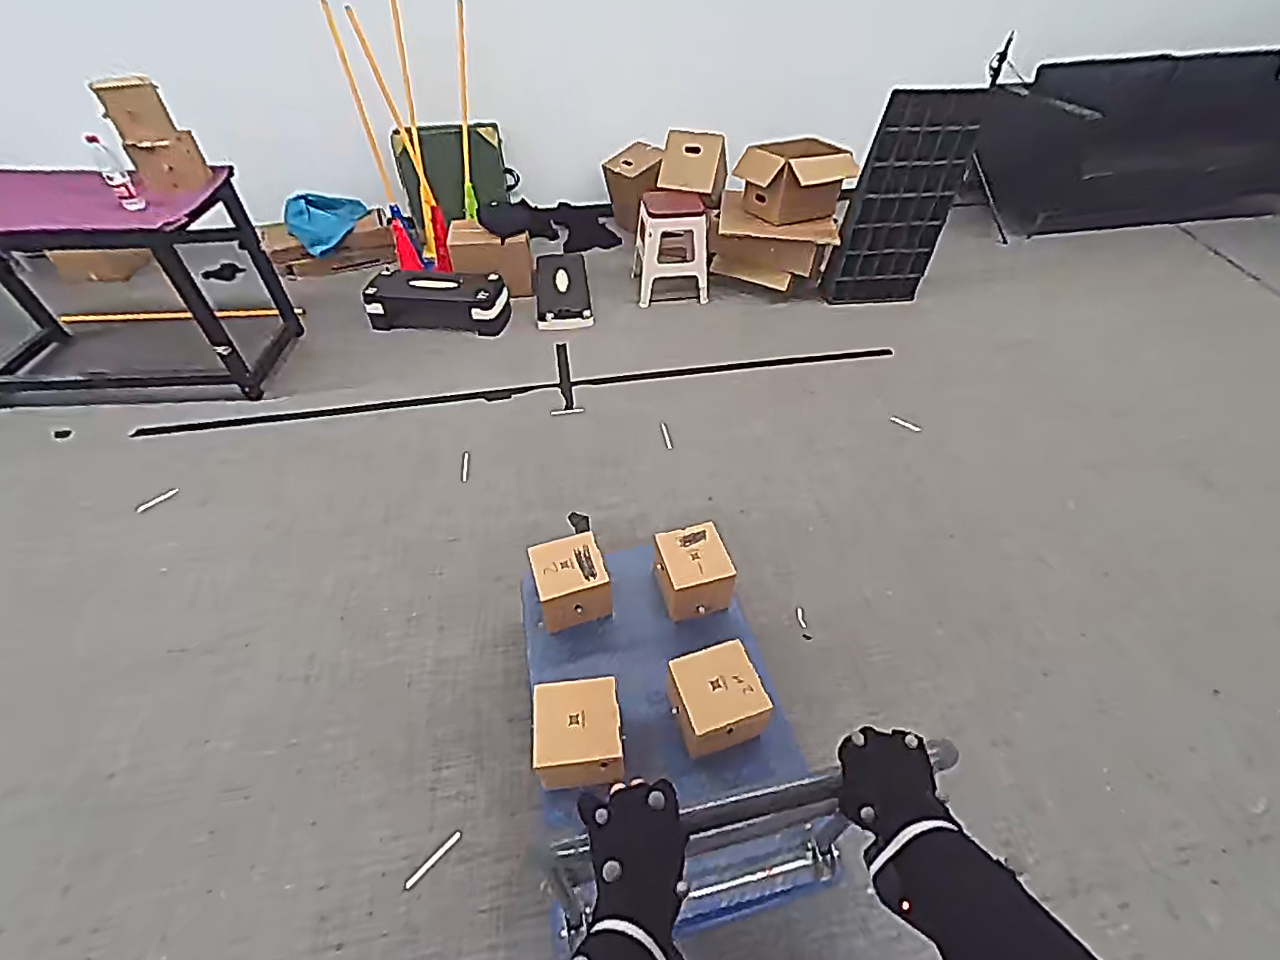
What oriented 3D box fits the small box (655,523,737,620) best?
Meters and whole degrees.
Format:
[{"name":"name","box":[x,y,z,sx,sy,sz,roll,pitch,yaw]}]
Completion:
[{"name":"small box","box":[0.141,0.247,1.450,0.168,0.176,0.179,-12,49,-11]}]

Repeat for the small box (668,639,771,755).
[{"name":"small box","box":[0.171,0.493,1.219,0.179,0.176,0.168,-14,49,-12]}]

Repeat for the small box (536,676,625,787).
[{"name":"small box","box":[-0.126,0.547,1.170,0.179,0.176,0.168,-4,47,-6]}]
